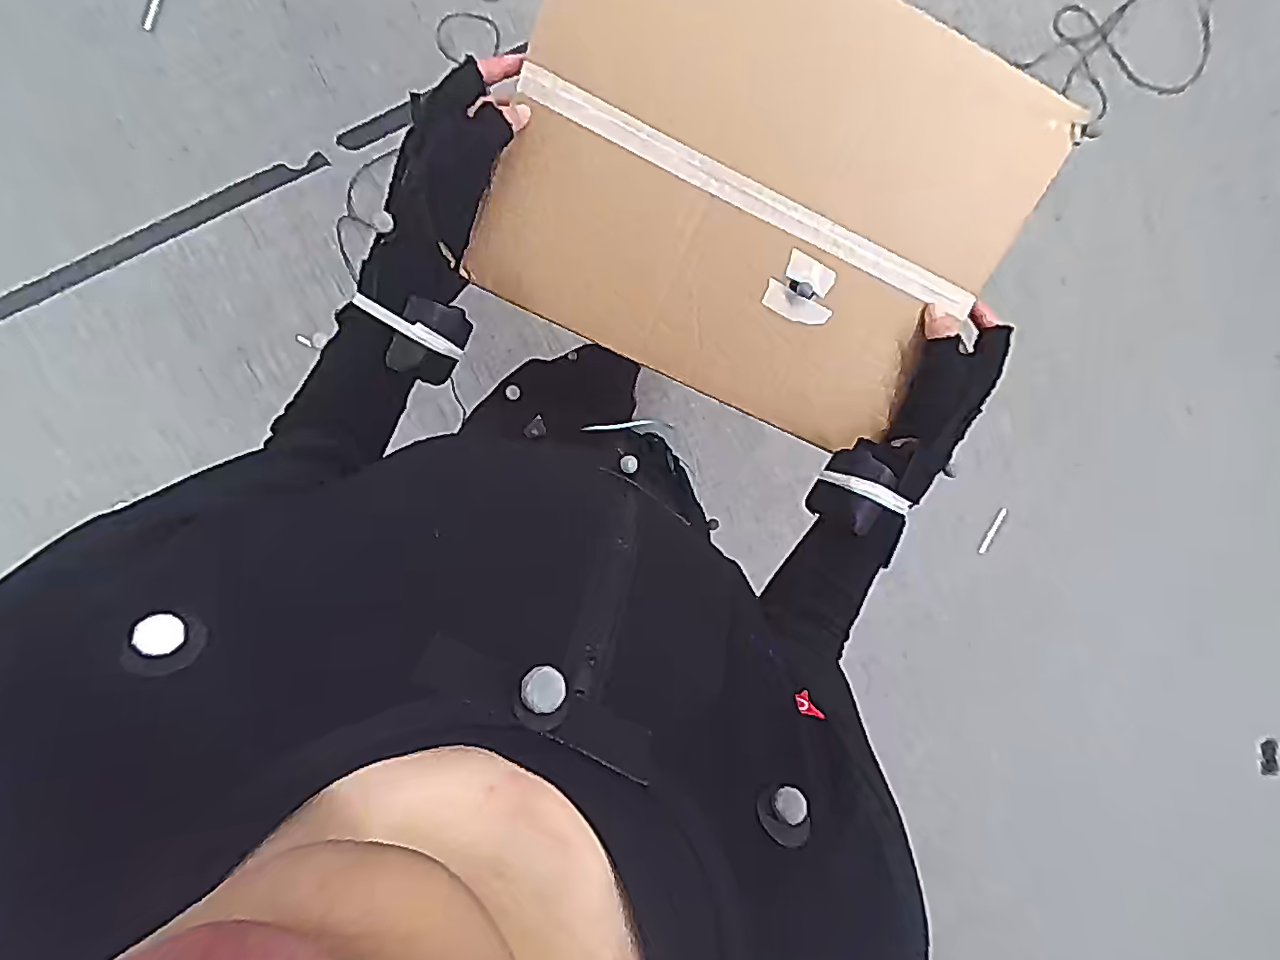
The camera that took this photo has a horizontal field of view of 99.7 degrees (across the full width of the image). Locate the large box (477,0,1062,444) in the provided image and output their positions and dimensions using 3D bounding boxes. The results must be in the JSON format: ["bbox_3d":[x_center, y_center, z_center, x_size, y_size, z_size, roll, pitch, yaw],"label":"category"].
[{"bbox_3d":[0.095,-0.288,0.590,0.408,0.320,0.320,23,109,-8],"label":"large box"}]
